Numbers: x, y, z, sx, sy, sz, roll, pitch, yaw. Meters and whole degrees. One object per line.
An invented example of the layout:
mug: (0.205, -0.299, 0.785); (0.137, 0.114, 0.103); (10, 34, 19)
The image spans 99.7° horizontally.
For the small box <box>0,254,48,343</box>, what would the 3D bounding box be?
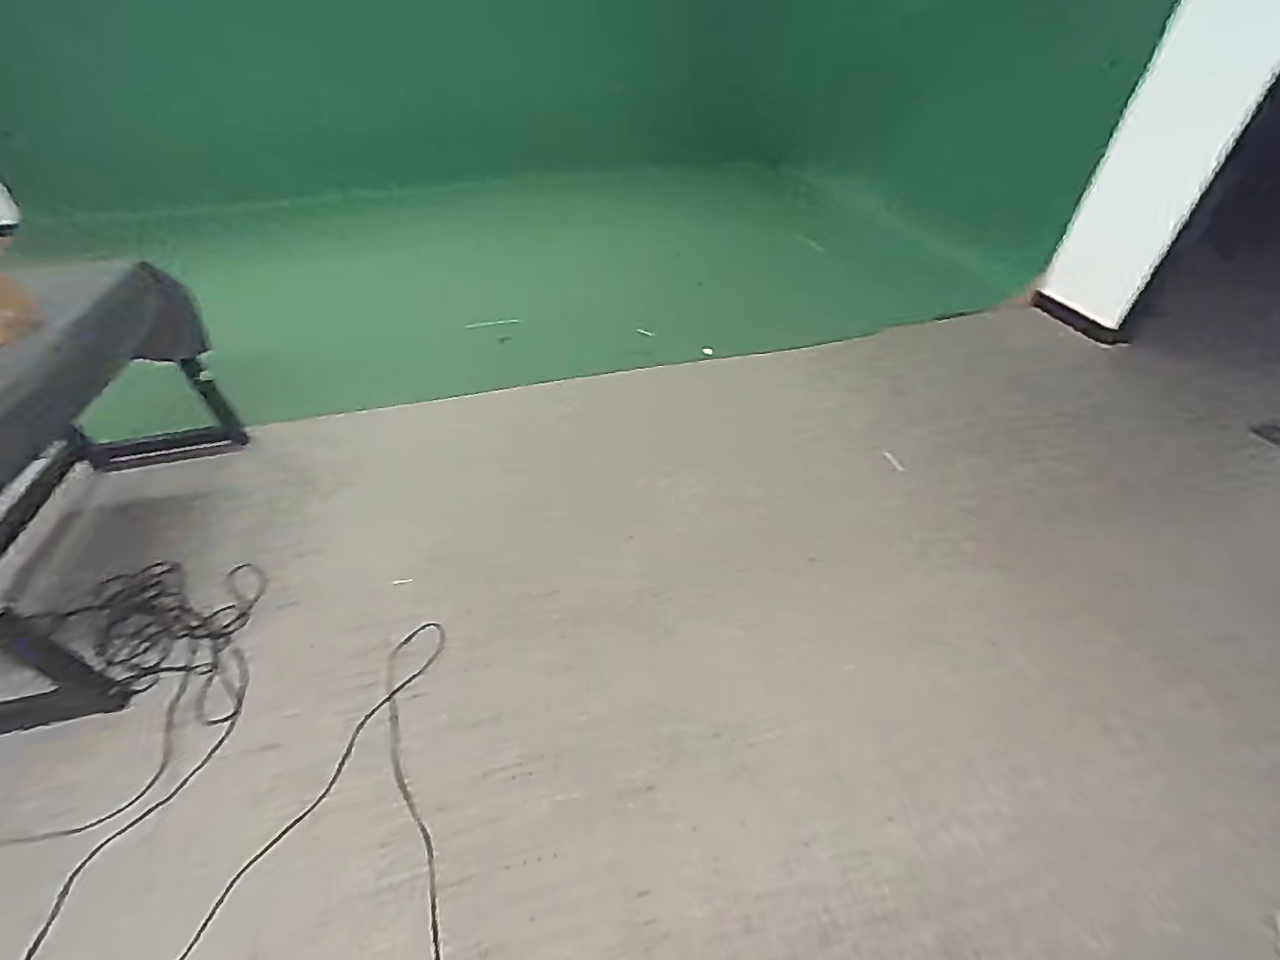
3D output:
small box: (-1.680, -0.446, 1.352); (0.179, 0.176, 0.168); (-9, 45, -8)
